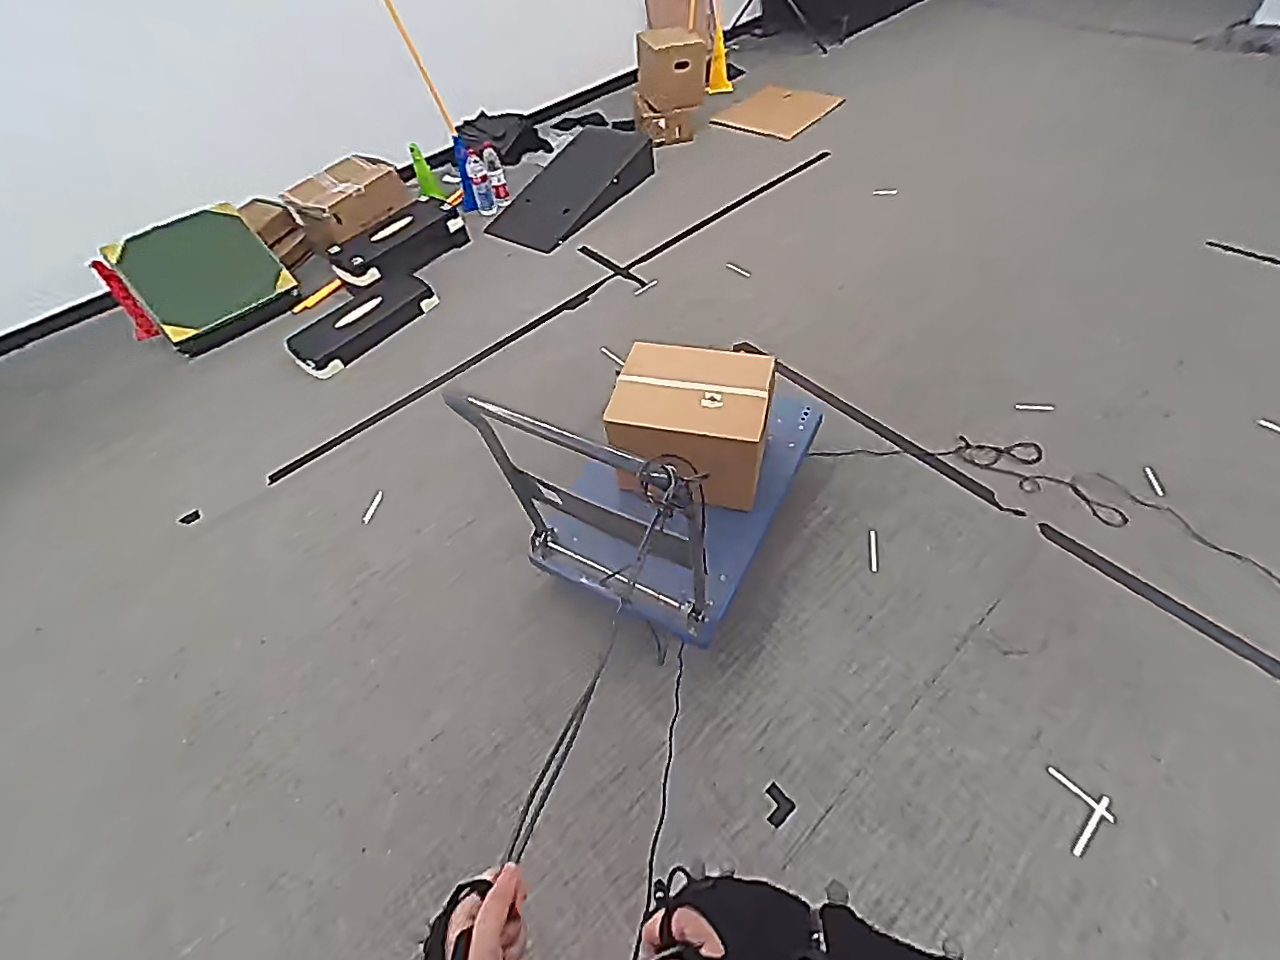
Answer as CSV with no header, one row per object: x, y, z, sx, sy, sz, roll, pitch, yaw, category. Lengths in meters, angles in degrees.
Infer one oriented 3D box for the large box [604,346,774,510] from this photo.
0.145,-0.148,1.540,0.408,0.320,0.320,10,56,13,large box
